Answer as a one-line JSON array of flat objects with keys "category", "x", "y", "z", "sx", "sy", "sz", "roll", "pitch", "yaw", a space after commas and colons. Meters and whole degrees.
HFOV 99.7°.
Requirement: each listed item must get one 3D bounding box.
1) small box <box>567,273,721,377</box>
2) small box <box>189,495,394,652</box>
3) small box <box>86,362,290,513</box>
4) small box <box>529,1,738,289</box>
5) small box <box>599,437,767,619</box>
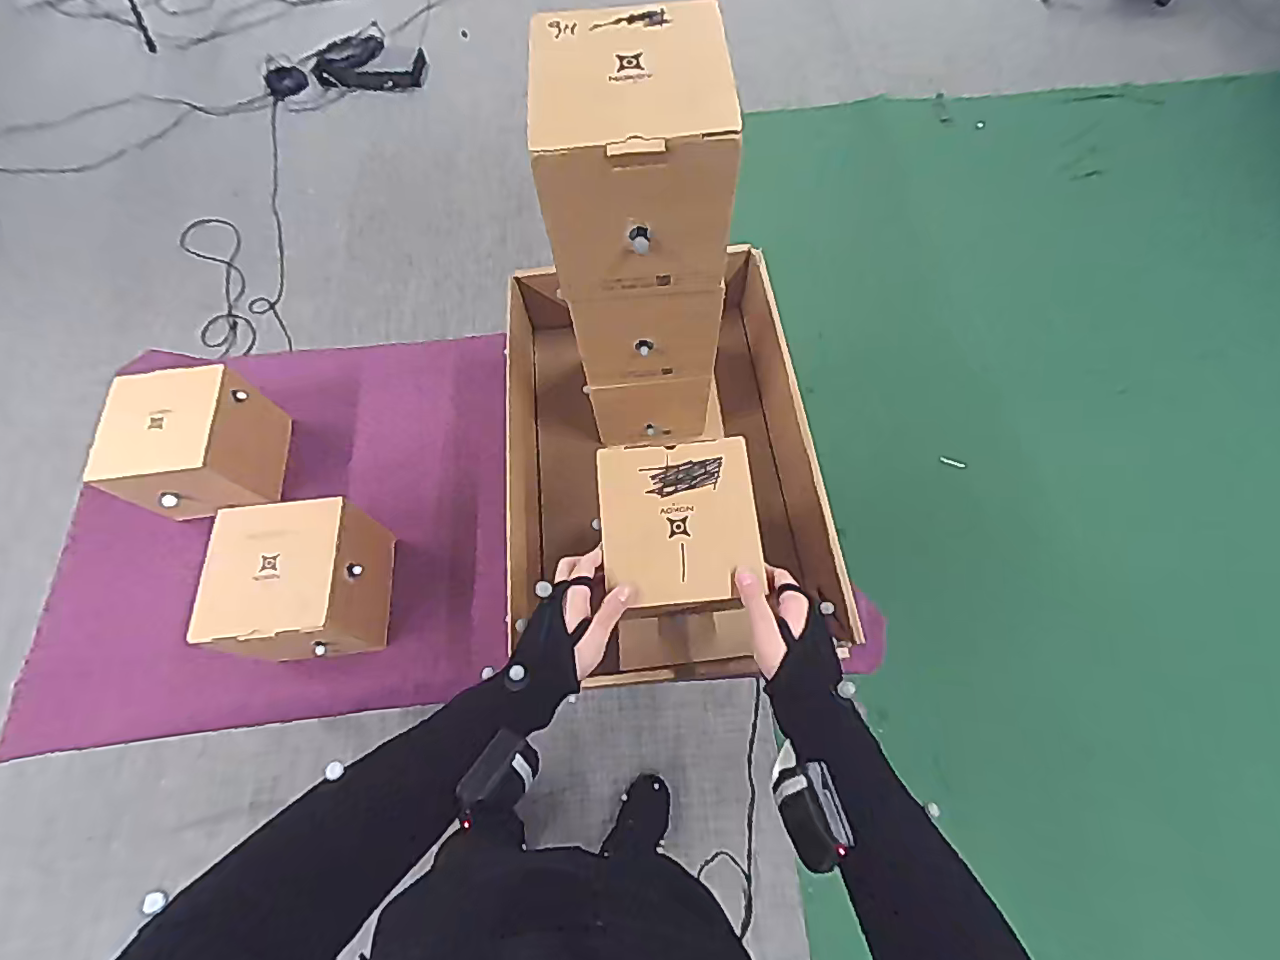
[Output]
[{"category": "small box", "x": 0.004, "y": -0.241, "z": 0.668, "sx": 0.168, "sy": 0.176, "sz": 0.179, "roll": -4, "pitch": 67, "yaw": 0}, {"category": "small box", "x": -0.462, "y": 0.138, "z": 0.750, "sx": 0.168, "sy": 0.176, "sz": 0.179, "roll": -5, "pitch": 64, "yaw": -1}, {"category": "small box", "x": -0.684, "y": -0.057, "z": 0.846, "sx": 0.168, "sy": 0.176, "sz": 0.179, "roll": -8, "pitch": 65, "yaw": -2}, {"category": "small box", "x": -0.005, "y": -0.302, "z": 0.517, "sx": 0.168, "sy": 0.176, "sz": 0.179, "roll": -4, "pitch": 68, "yaw": 1}, {"category": "small box", "x": 0.041, "y": 0.065, "z": 0.645, "sx": 0.168, "sy": 0.176, "sz": 0.179, "roll": -5, "pitch": 72, "yaw": 0}]
